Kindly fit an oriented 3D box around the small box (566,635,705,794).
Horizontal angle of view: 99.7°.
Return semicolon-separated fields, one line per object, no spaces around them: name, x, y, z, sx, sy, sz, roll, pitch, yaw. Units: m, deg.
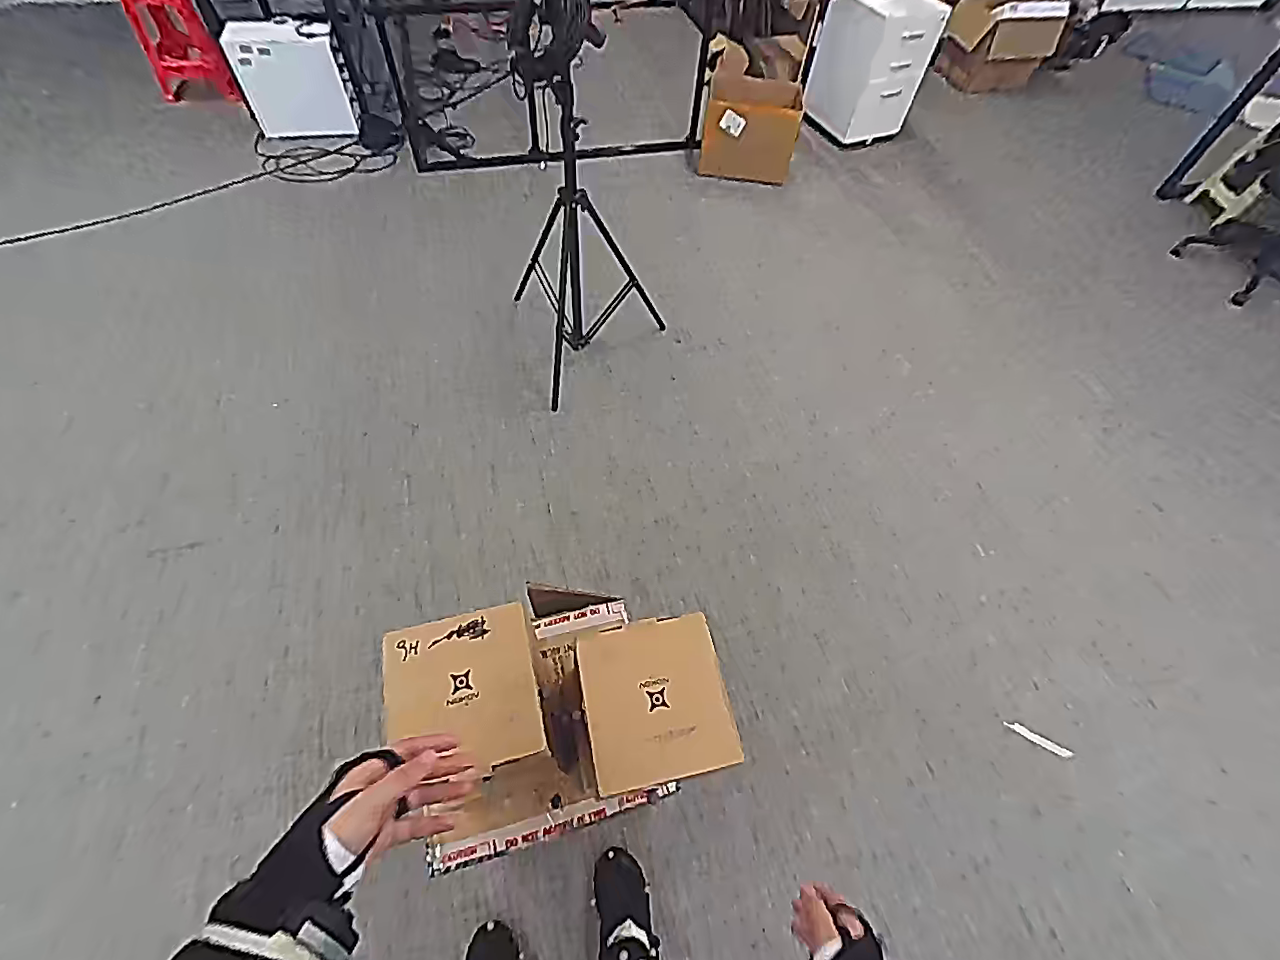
small box;-0.018;0.364;0.834;0.168;0.176;0.179;-11;60;-12

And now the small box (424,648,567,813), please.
small box;-0.210;0.377;0.810;0.168;0.176;0.179;-14;62;-11
